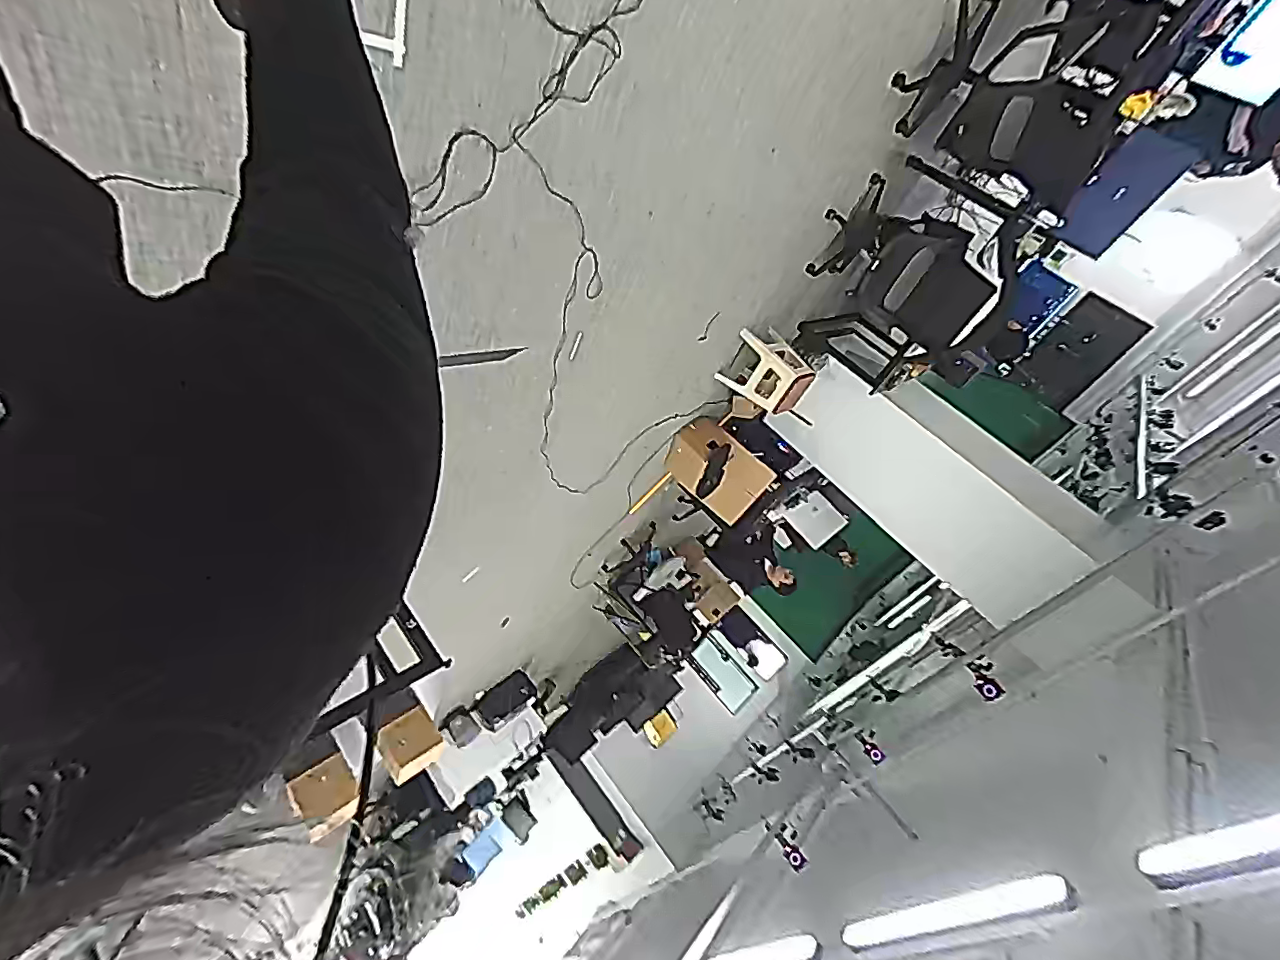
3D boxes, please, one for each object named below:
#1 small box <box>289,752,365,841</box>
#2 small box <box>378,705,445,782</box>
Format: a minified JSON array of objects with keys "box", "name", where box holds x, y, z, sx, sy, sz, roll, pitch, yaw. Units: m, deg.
[{"box":[-1.026,1.032,1.773,0.168,0.176,0.179,-24,151,-44],"name":"small box"},{"box":[-0.841,0.956,1.979,0.168,0.176,0.179,-23,152,-42],"name":"small box"}]
